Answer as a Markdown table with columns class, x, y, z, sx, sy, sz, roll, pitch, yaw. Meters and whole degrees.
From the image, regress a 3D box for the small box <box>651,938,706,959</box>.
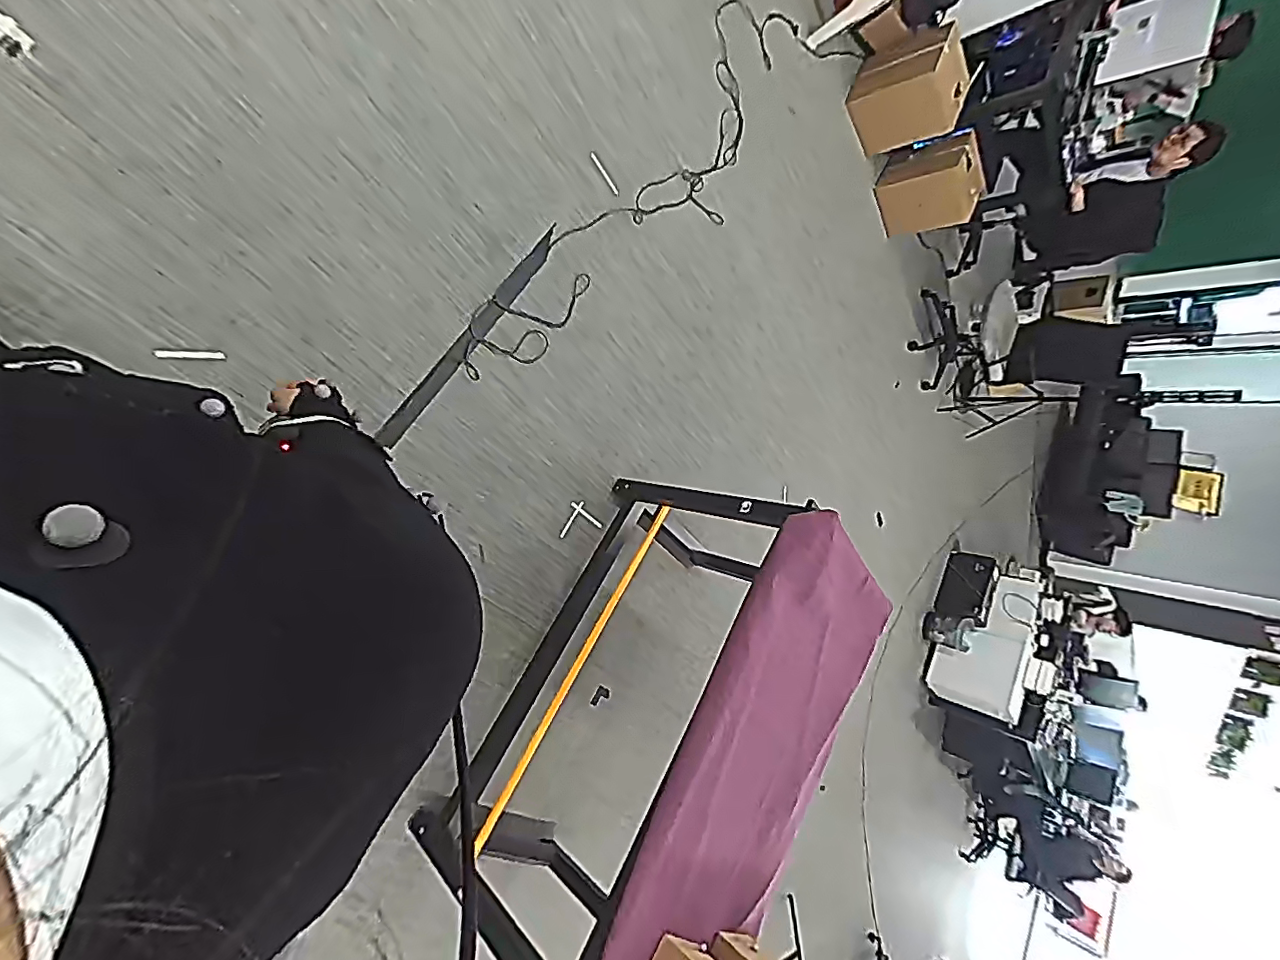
| class | x | y | z | sx | sy | sz | roll | pitch | yaw |
| --- | --- | --- | --- | --- | --- | --- | --- | --- | --- |
| small box | 0.093 | 1.050 | 1.054 | 0.179 | 0.176 | 0.168 | -55 | 130 | -23 |

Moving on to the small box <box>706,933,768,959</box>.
| class | x | y | z | sx | sy | sz | roll | pitch | yaw |
| --- | --- | --- | --- | --- | --- | --- | --- | --- | --- |
| small box | 0.231 | 1.168 | 1.205 | 0.168 | 0.176 | 0.179 | 46 | 66 | -37 |
